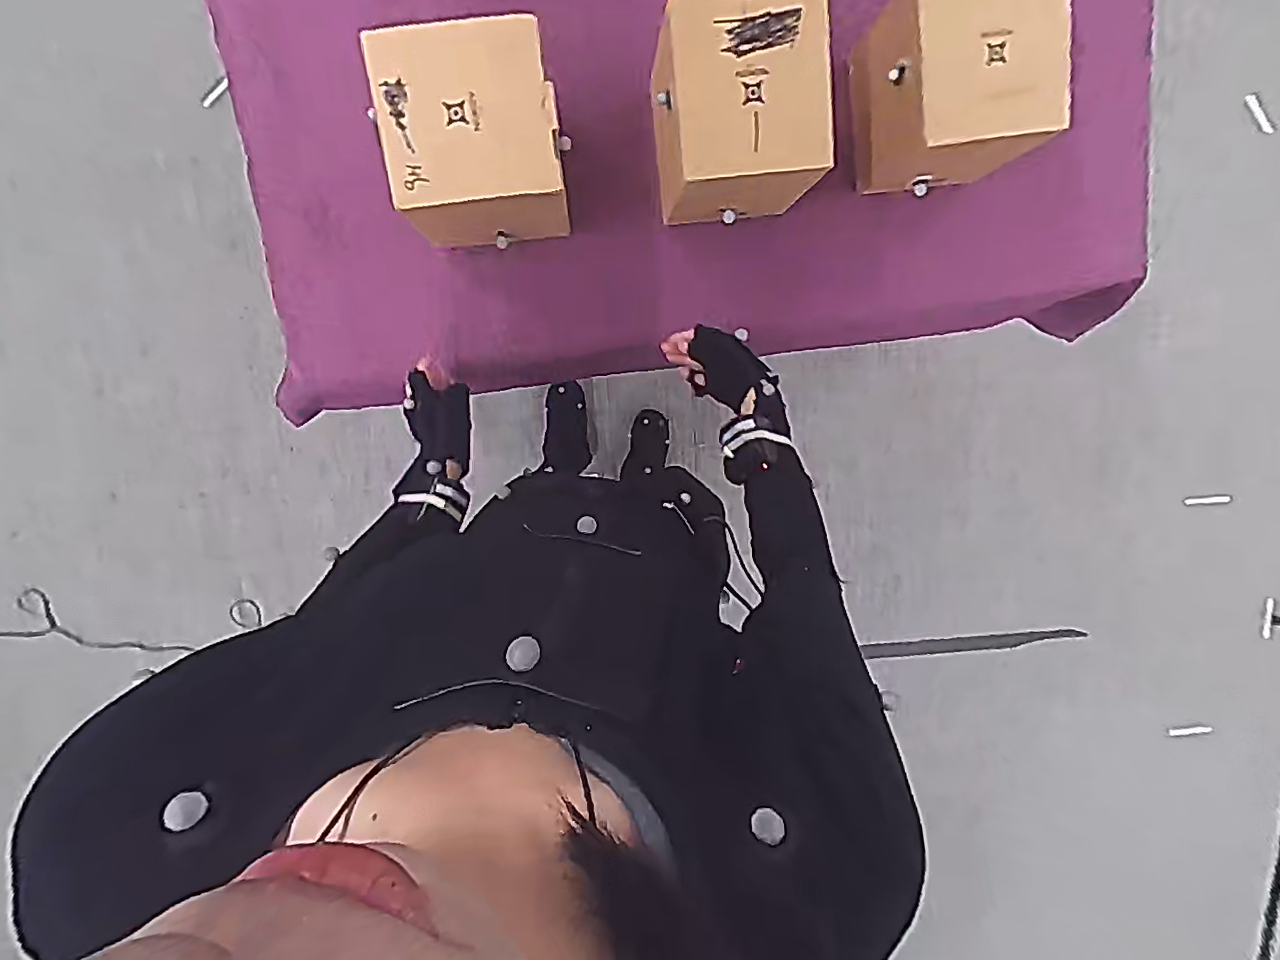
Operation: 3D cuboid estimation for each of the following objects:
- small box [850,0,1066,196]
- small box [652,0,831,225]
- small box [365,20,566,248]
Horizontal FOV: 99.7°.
[{"bbox_3d":[0.371,-0.474,0.657,0.168,0.176,0.179,-9,101,-2],"label":"small box"},{"bbox_3d":[0.110,-0.425,0.641,0.168,0.176,0.179,-7,100,-3],"label":"small box"},{"bbox_3d":[-0.182,-0.381,0.624,0.179,0.176,0.168,-9,100,-5],"label":"small box"}]
